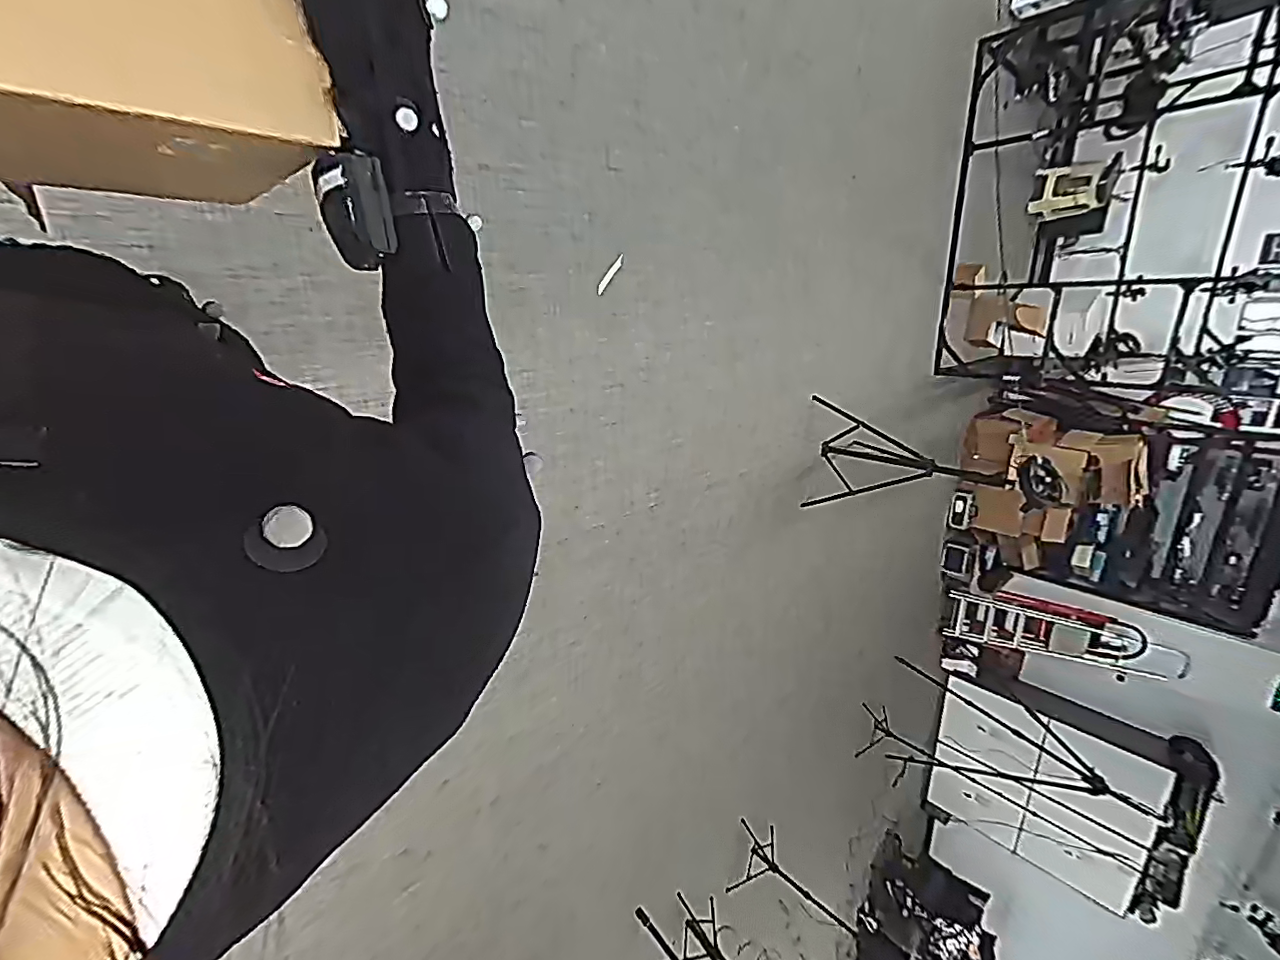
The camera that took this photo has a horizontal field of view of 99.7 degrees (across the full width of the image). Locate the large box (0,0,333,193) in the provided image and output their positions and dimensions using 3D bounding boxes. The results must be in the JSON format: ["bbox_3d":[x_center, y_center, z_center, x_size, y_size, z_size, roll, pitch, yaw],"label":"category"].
[{"bbox_3d":[-0.448,-0.356,0.276,0.408,0.320,0.320,-18,116,-42],"label":"large box"}]
